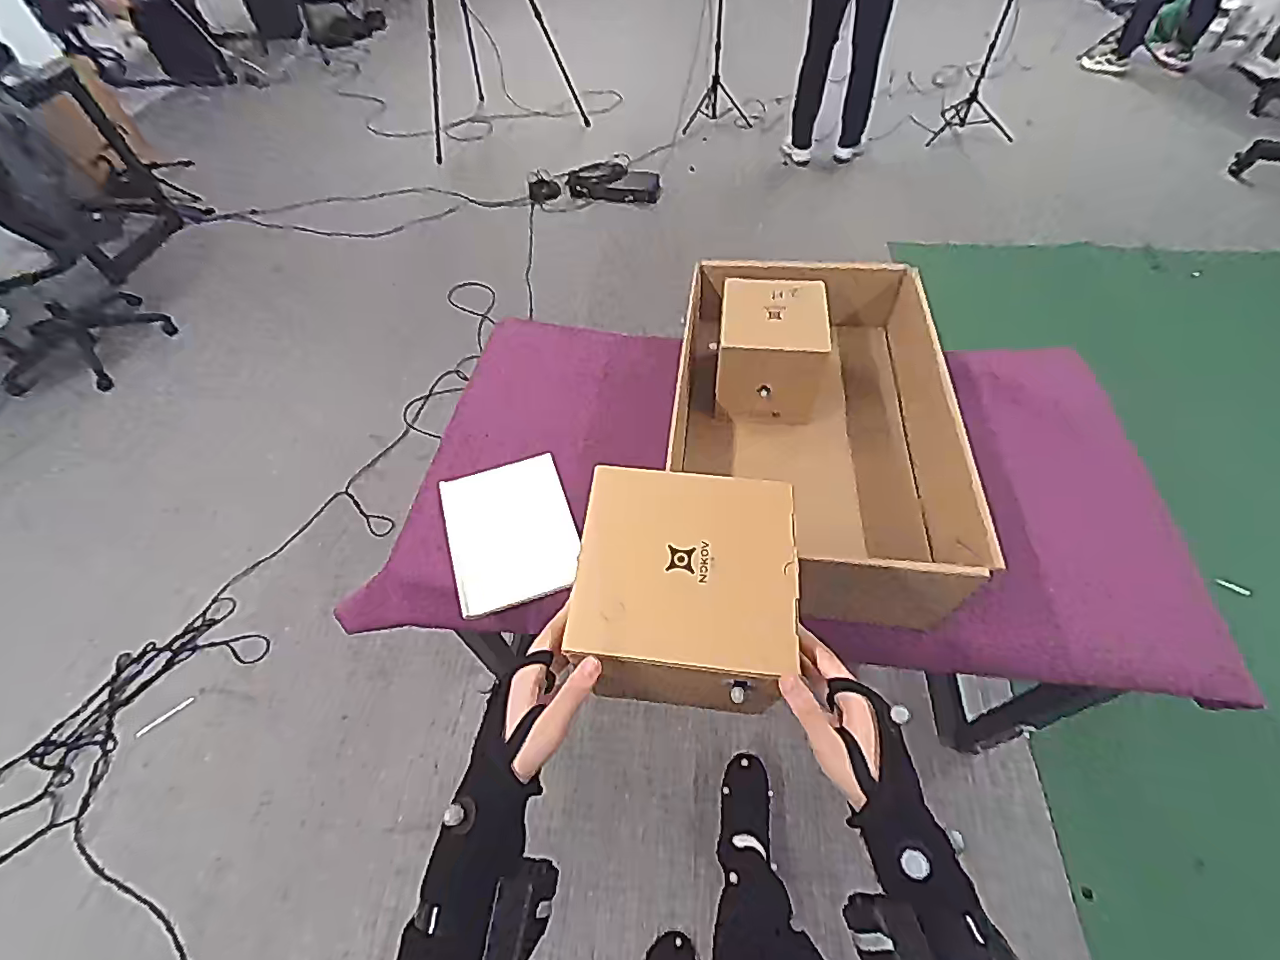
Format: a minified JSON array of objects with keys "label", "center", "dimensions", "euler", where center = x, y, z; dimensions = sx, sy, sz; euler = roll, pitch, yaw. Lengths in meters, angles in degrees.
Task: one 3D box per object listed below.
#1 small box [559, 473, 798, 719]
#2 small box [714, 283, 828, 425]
[{"label":"small box","center":[0.038,0.112,0.496],"dimensions":[0.179,0.176,0.168],"euler":[5,58,4]},{"label":"small box","center":[0.217,-0.211,0.925],"dimensions":[0.168,0.176,0.179],"euler":[5,55,7]}]
